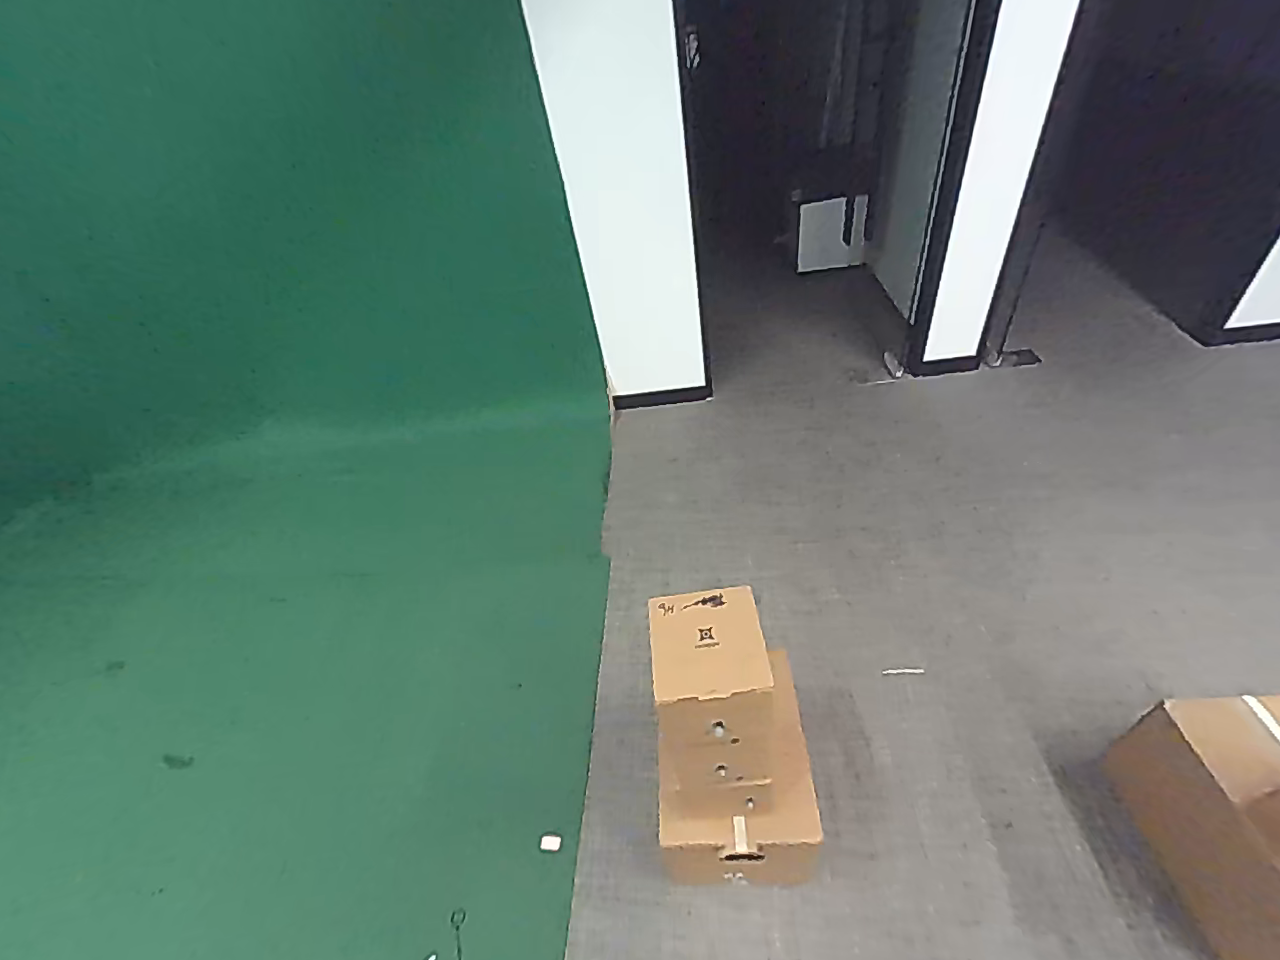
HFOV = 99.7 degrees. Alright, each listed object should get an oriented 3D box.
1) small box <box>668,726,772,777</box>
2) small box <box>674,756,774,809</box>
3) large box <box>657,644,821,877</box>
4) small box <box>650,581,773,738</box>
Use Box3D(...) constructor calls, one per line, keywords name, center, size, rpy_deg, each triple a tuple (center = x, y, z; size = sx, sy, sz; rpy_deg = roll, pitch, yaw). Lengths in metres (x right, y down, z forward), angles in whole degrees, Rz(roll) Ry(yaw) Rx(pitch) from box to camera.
Box3D(name="small box", center=(0.135, 0.405, 0.956), size=(0.168, 0.176, 0.179), rpy_deg=(-9, 41, 3))
Box3D(name="small box", center=(0.161, 0.528, 1.061), size=(0.179, 0.176, 0.168), rpy_deg=(-7, 42, 7))
Box3D(name="large box", center=(0.217, 0.655, 1.274), size=(0.320, 0.320, 0.408), rpy_deg=(-6, 42, 7))
Box3D(name="small box", center=(0.111, 0.286, 0.845), size=(0.168, 0.176, 0.179), rpy_deg=(-8, 43, 4))
